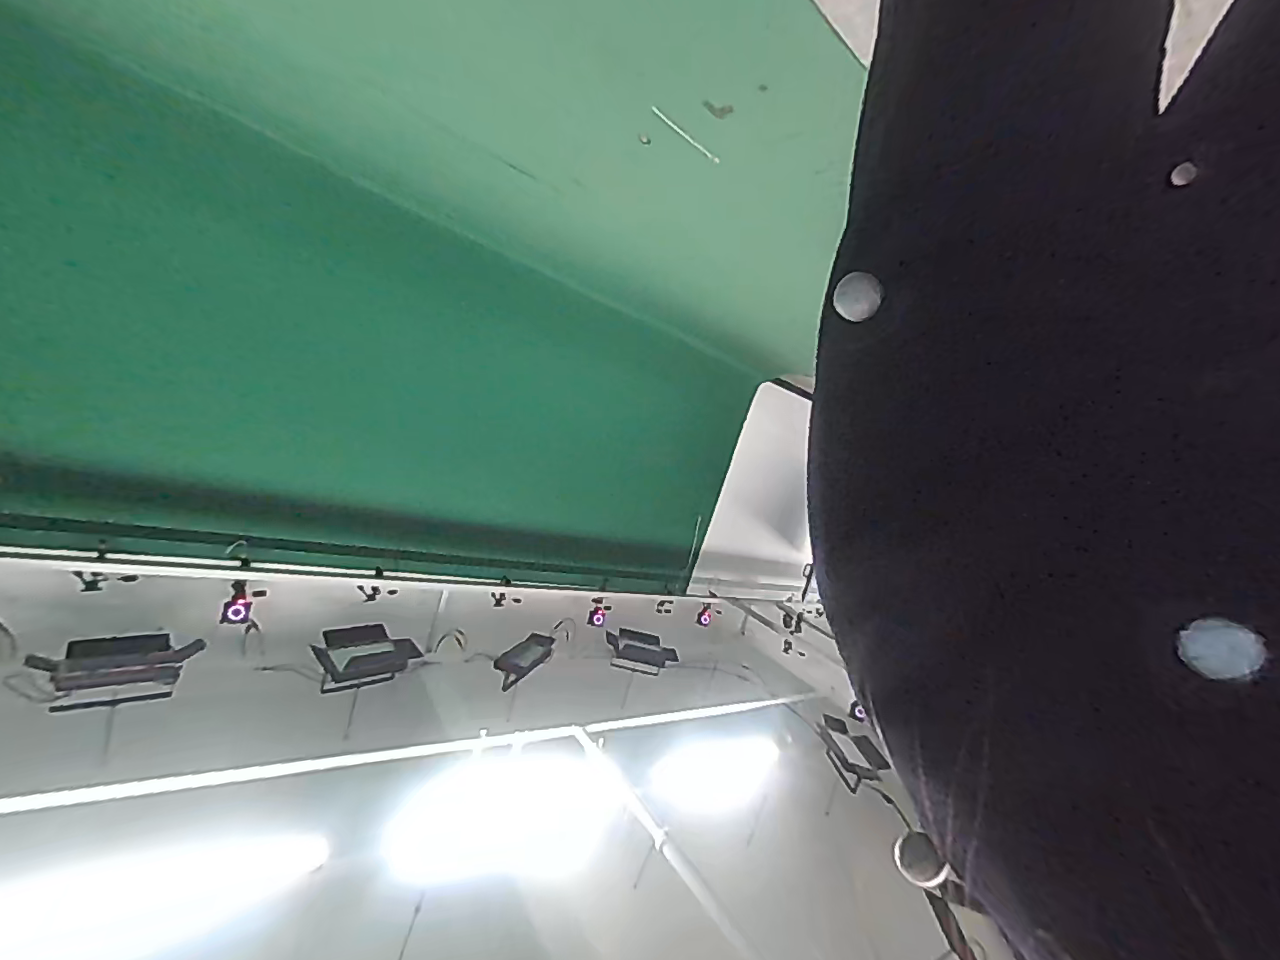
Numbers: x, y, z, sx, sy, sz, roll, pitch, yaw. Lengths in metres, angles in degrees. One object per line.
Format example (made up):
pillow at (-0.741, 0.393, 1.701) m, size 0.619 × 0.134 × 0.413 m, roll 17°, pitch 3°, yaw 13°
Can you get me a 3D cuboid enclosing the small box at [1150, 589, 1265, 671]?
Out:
small box at (1.582, 0.410, 1.508) m, size 0.168 × 0.176 × 0.179 m, roll 12°, pitch -173°, yaw -37°
